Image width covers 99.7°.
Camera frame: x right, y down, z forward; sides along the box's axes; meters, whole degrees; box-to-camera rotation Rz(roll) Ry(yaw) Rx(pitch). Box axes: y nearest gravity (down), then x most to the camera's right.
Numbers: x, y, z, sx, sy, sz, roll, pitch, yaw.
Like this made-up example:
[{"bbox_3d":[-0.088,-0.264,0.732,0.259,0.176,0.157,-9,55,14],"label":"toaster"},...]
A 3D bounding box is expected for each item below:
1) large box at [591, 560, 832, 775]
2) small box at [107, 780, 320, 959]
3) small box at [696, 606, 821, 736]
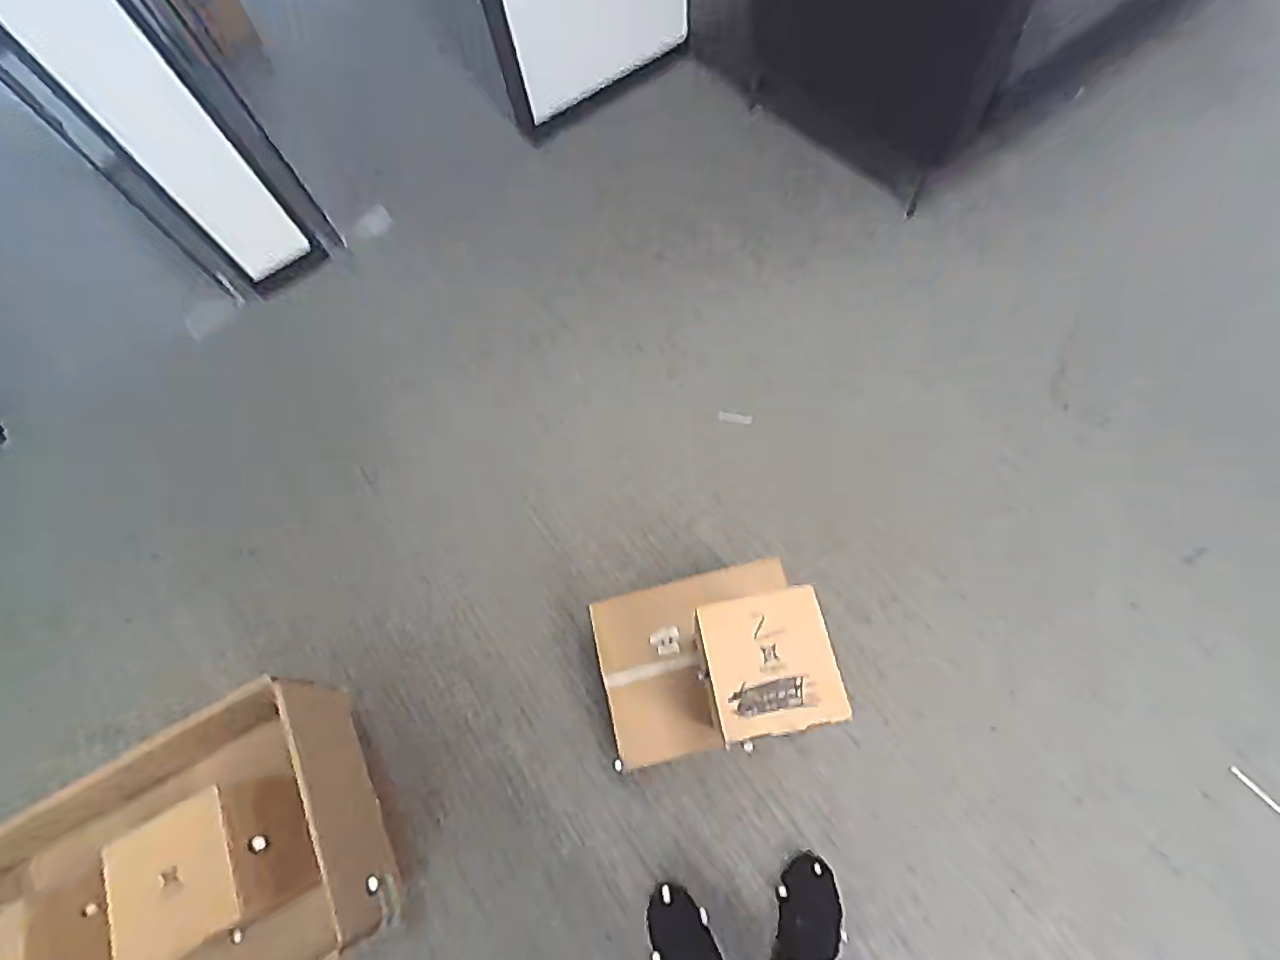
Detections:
[{"bbox_3d":[0.142,0.407,1.177,0.408,0.320,0.320,-15,65,0],"label":"large box"},{"bbox_3d":[-0.610,0.565,0.789,0.168,0.176,0.179,-29,67,-8],"label":"small box"},{"bbox_3d":[0.194,0.331,0.936,0.168,0.176,0.179,-11,66,0],"label":"small box"}]
